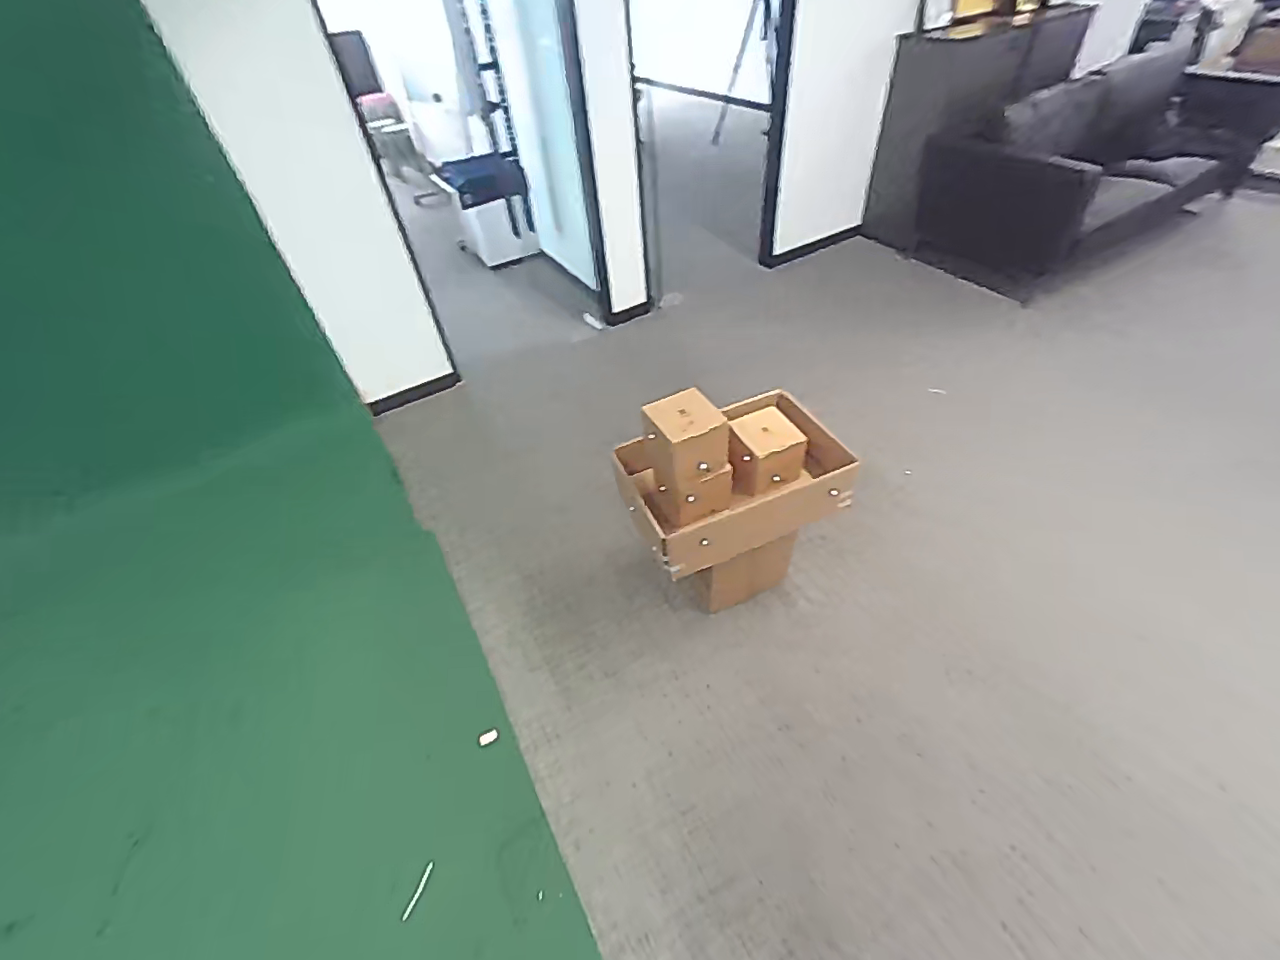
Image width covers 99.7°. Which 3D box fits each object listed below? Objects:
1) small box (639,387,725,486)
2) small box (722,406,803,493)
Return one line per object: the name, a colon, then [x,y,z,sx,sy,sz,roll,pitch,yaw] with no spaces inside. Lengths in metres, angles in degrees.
small box: [0.109,-0.116,1.447,0.168,0.176,0.179,-23,49,-16]
small box: [0.361,-0.091,1.632,0.168,0.176,0.179,-20,50,-14]
